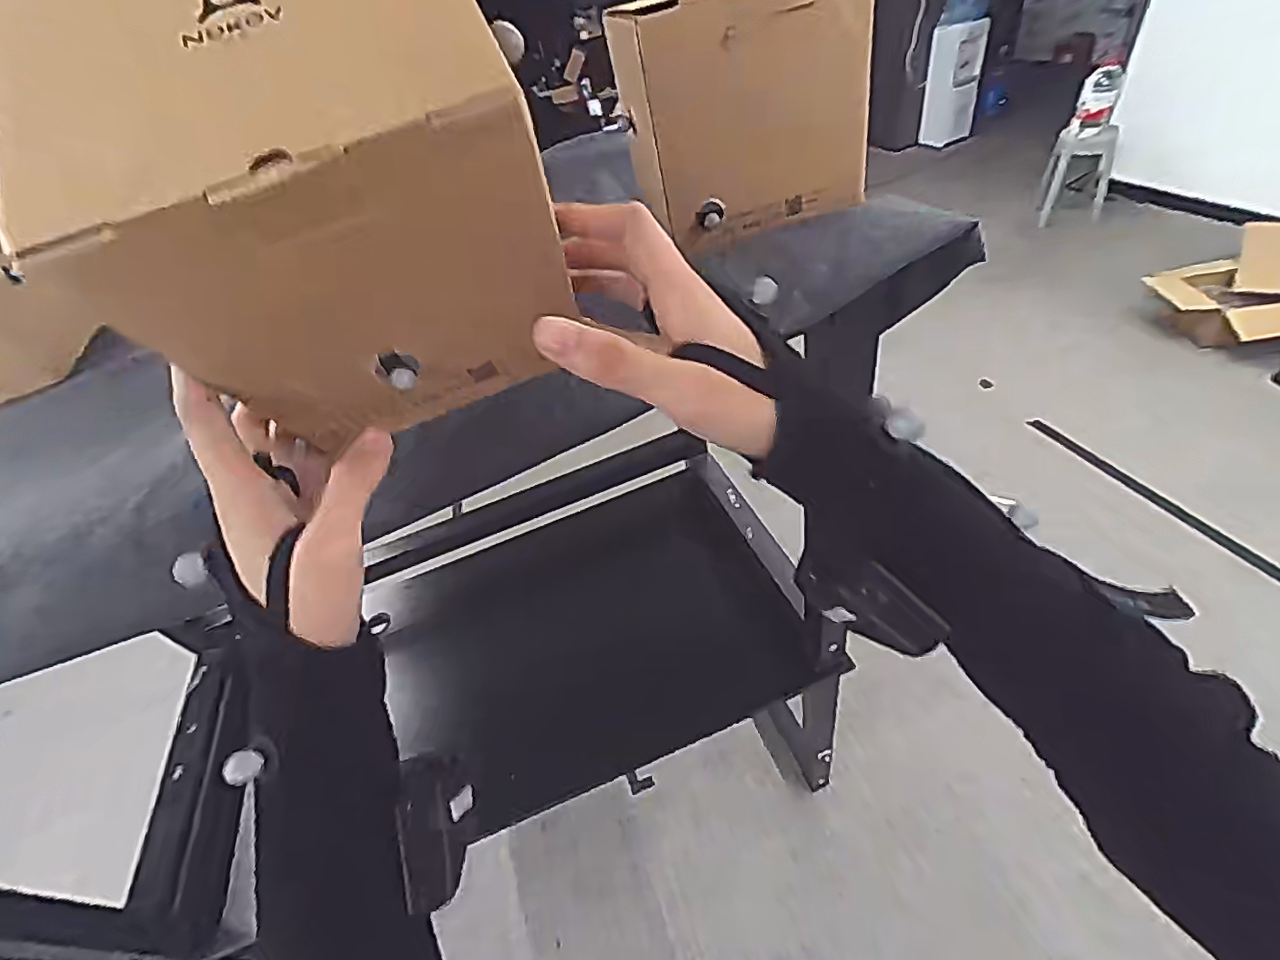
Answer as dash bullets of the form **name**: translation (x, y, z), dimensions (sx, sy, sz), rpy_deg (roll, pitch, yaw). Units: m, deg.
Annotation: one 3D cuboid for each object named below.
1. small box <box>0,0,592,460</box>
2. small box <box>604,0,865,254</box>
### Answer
- **small box**: translation (-0.135, -0.135, 0.266), dimensions (0.168, 0.176, 0.179), rpy_deg (-23, 74, -5)
- **small box**: translation (0.078, -0.315, 0.465), dimensions (0.168, 0.176, 0.179), rpy_deg (-16, 42, 1)
